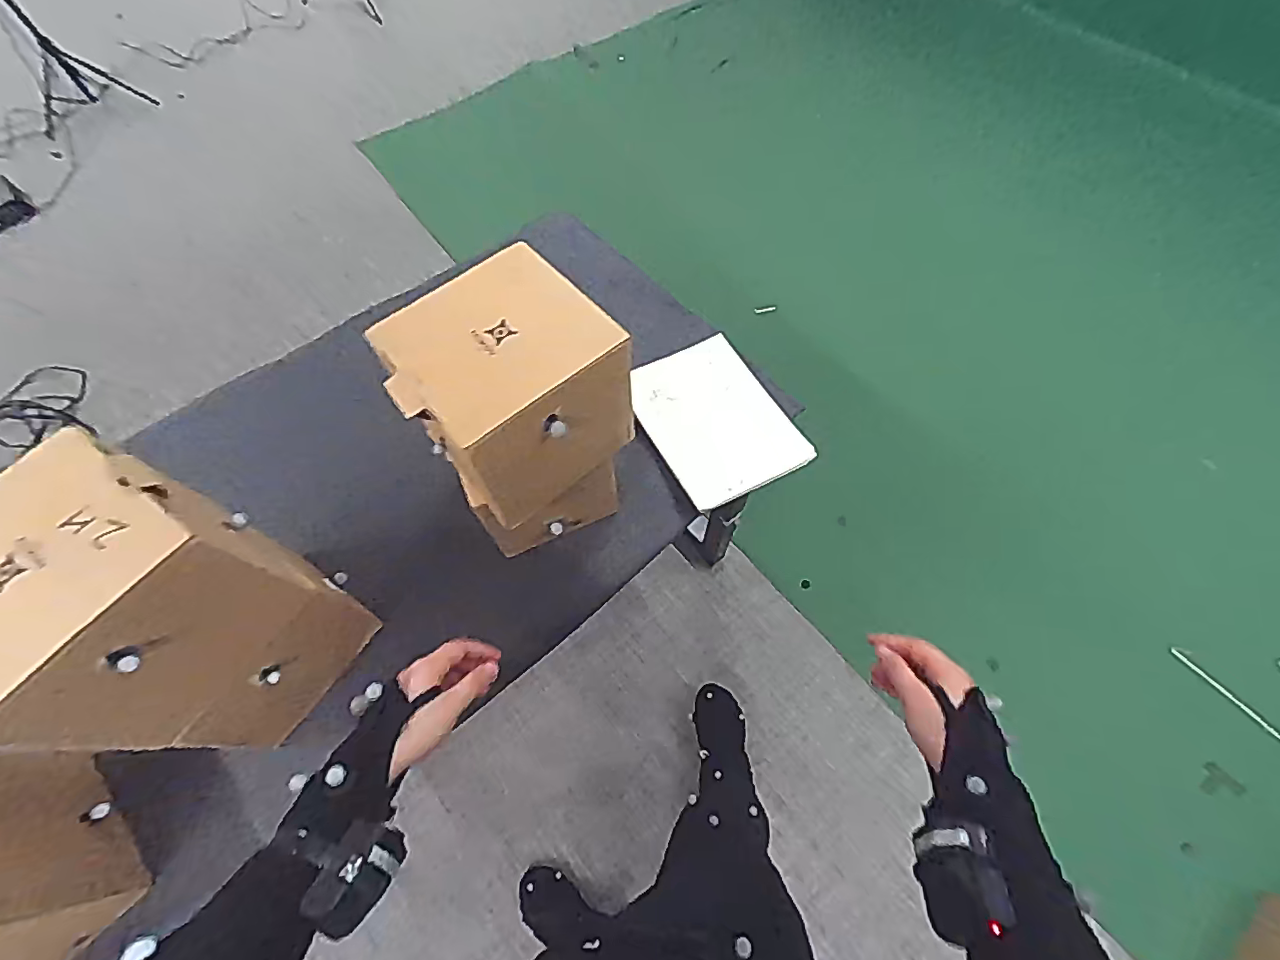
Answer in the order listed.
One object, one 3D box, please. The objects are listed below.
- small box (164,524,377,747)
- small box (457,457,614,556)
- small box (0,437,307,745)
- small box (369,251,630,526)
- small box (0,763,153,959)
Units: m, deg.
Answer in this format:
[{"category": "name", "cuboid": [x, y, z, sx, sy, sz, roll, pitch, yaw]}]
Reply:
[{"category": "small box", "cuboid": [-0.441, 0.175, 0.610, 0.168, 0.176, 0.179, 30, 67, 14]}, {"category": "small box", "cuboid": [-0.143, -0.028, 0.705, 0.168, 0.176, 0.179, -23, 66, -10]}, {"category": "small box", "cuboid": [-0.440, 0.104, 0.461, 0.168, 0.176, 0.179, 33, 68, 15]}, {"category": "small box", "cuboid": [-0.126, -0.085, 0.551, 0.179, 0.176, 0.168, -39, 69, -16]}, {"category": "small box", "cuboid": [-0.624, 0.390, 0.501, 0.179, 0.176, 0.168, 41, 71, 19]}]
